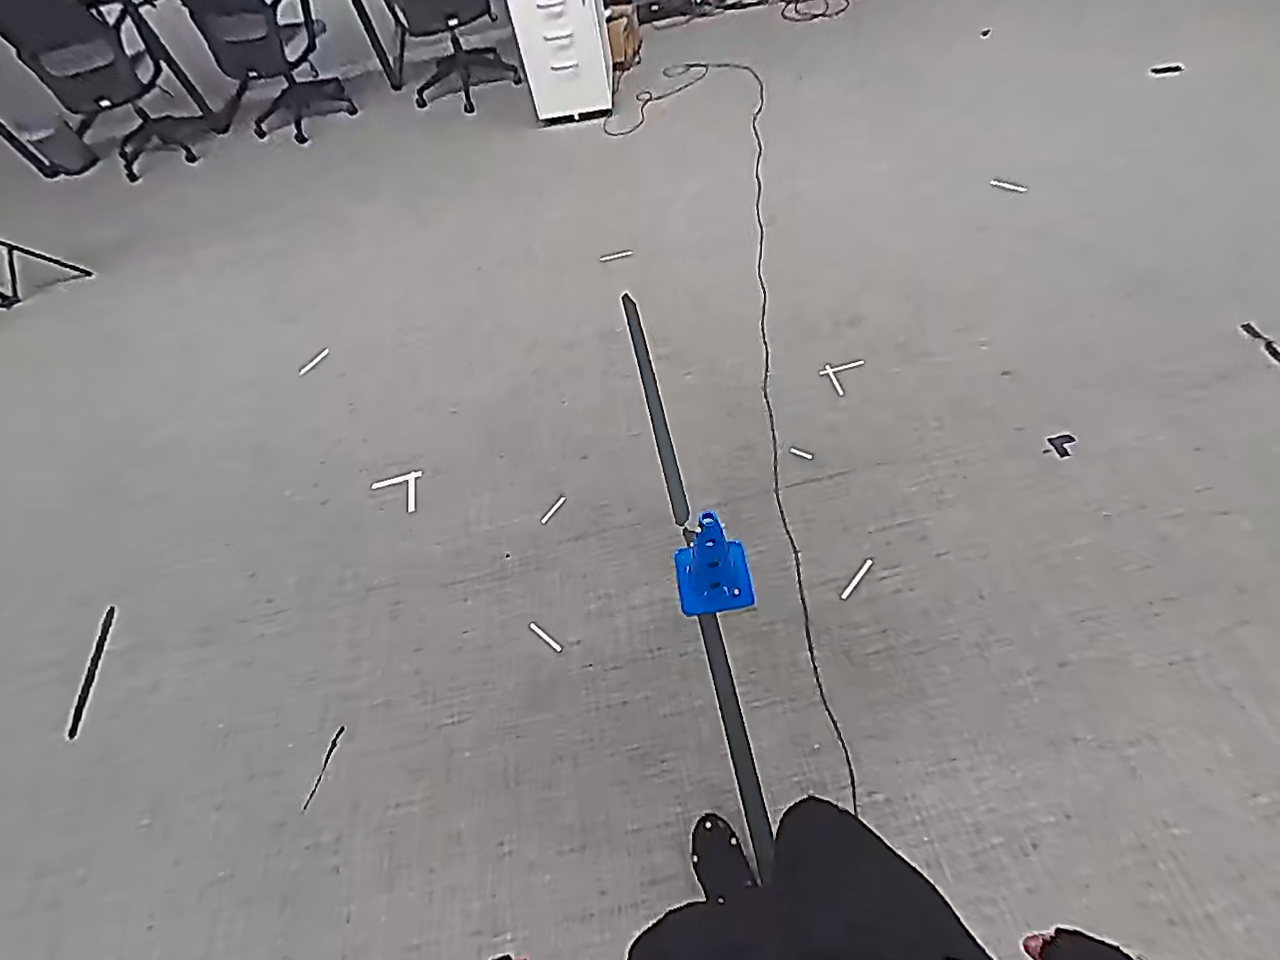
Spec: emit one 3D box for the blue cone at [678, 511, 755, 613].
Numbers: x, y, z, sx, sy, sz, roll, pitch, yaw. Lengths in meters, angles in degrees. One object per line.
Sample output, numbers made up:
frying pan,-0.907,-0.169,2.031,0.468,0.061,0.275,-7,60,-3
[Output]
blue cone,0.183,0.174,1.346,0.193,0.380,0.192,-10,57,2
